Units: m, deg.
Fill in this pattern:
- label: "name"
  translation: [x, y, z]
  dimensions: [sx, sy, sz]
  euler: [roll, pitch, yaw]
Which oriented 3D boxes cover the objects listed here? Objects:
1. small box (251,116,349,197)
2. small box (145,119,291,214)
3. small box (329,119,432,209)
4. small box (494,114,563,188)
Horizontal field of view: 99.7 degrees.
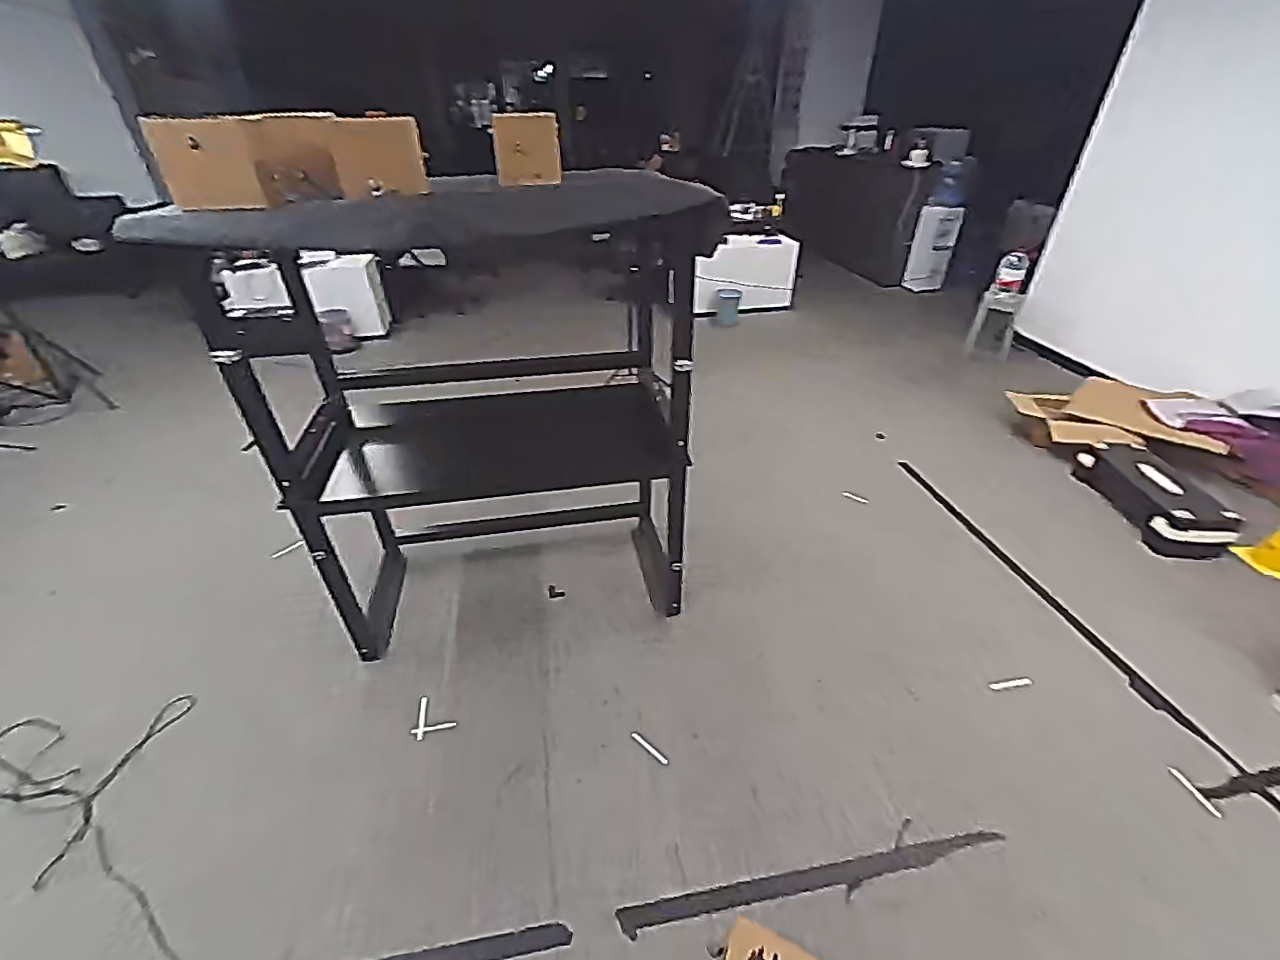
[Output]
- label: "small box"
  translation: [-0.877, -0.857, 1.431]
  dimensions: [0.179, 0.176, 0.168]
  euler: [-7, 36, -11]
- label: "small box"
  translation: [-0.907, -0.686, 1.185]
  dimensions: [0.179, 0.176, 0.168]
  euler: [-8, 35, -12]
- label: "small box"
  translation: [-0.581, -0.723, 1.238]
  dimensions: [0.168, 0.176, 0.179]
  euler: [-10, 35, -12]
- label: "small box"
  translation: [-0.313, -0.928, 1.527]
  dimensions: [0.168, 0.176, 0.179]
  euler: [-7, 36, -9]
